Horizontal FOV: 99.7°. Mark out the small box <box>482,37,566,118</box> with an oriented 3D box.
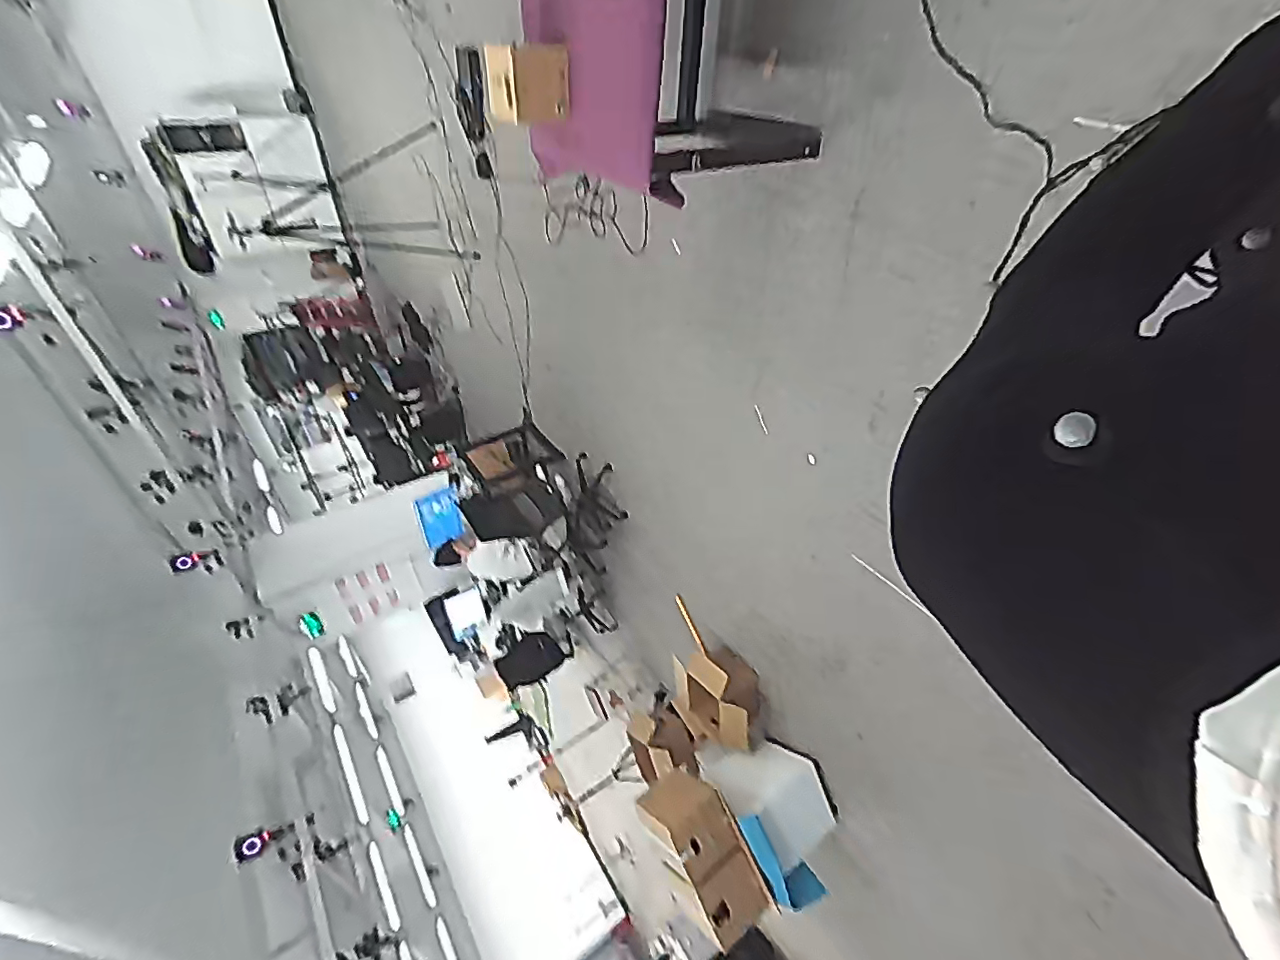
[{"bbox_3d":[-0.316,-1.121,1.503,0.179,0.176,0.168,44,144,36],"label":"small box"}]
